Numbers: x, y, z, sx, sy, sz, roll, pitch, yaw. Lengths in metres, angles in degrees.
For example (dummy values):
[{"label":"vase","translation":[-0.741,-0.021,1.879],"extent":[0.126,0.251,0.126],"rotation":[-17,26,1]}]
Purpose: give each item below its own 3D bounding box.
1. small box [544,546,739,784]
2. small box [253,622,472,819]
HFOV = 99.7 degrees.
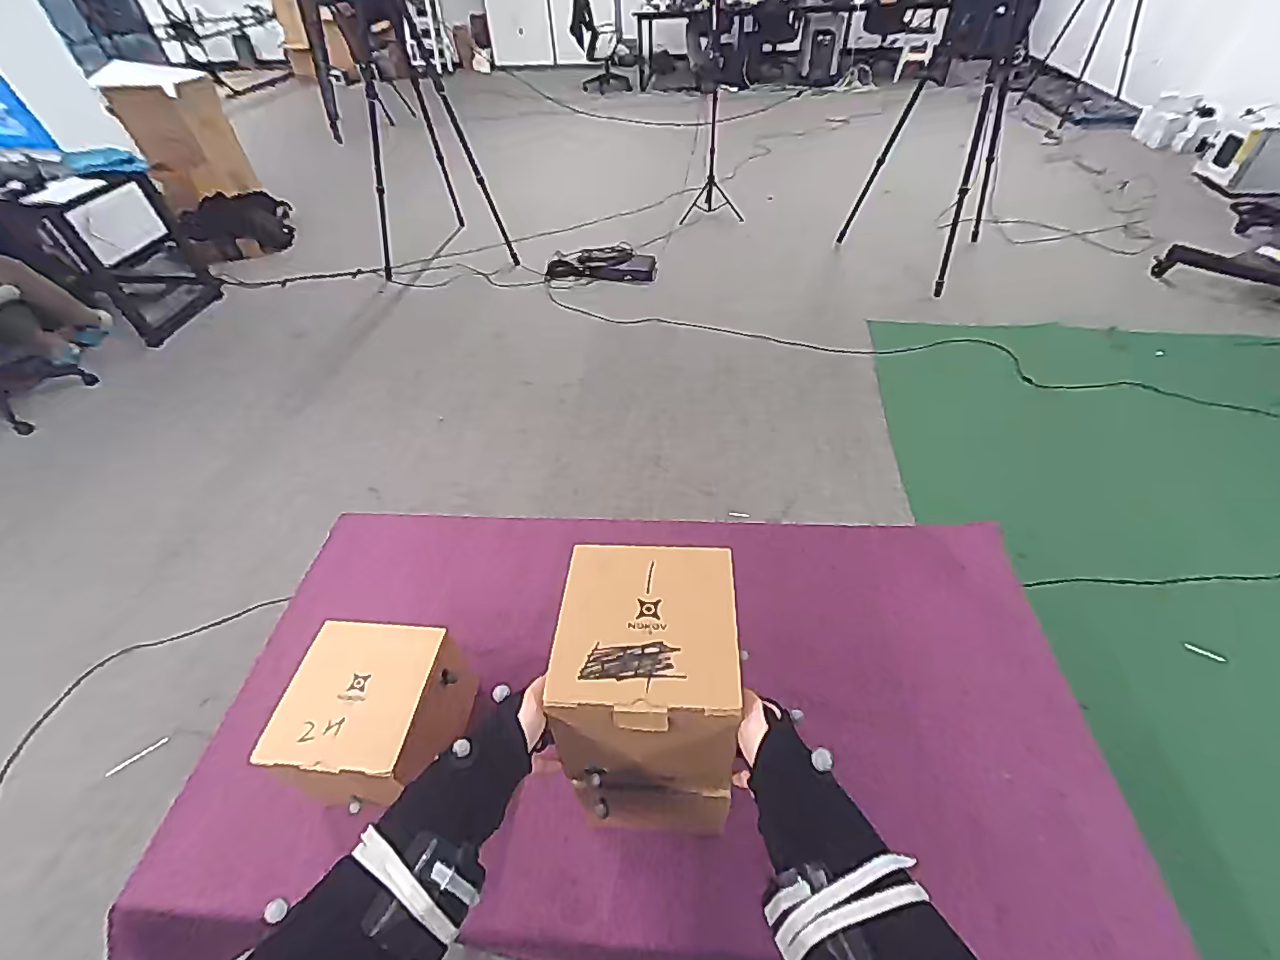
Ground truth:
[{"label":"small box","translation":[0.011,0.188,0.552],"extent":[0.168,0.176,0.179],"rotation":[1,41,4]},{"label":"small box","translation":[-0.330,0.307,0.693],"extent":[0.168,0.176,0.179],"rotation":[2,46,6]}]
